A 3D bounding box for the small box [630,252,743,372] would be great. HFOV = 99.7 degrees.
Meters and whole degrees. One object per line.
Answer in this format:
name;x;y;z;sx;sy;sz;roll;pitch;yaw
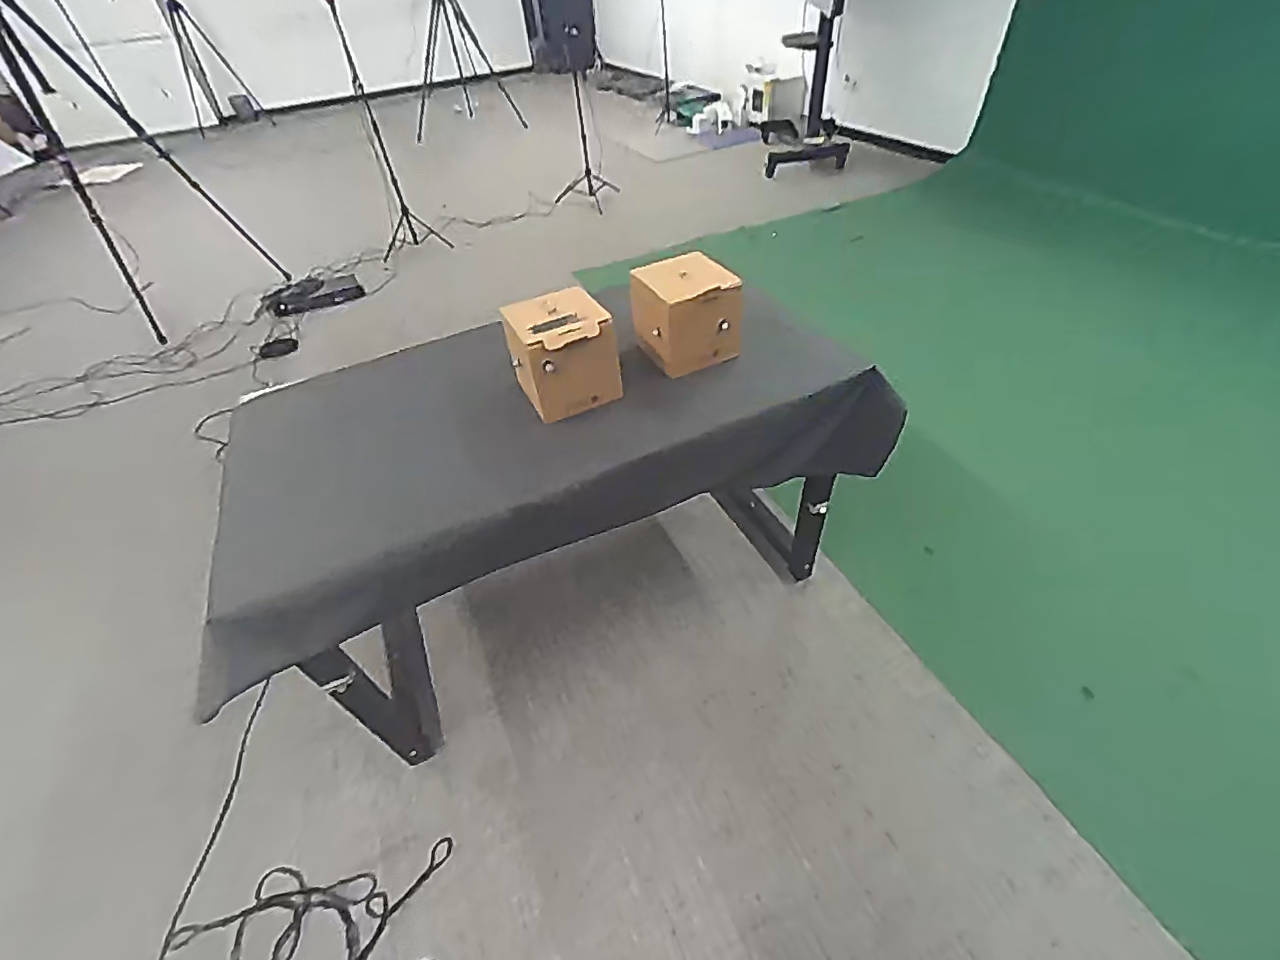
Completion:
small box;0.094;-0.342;1.113;0.168;0.176;0.179;-22;46;-16
